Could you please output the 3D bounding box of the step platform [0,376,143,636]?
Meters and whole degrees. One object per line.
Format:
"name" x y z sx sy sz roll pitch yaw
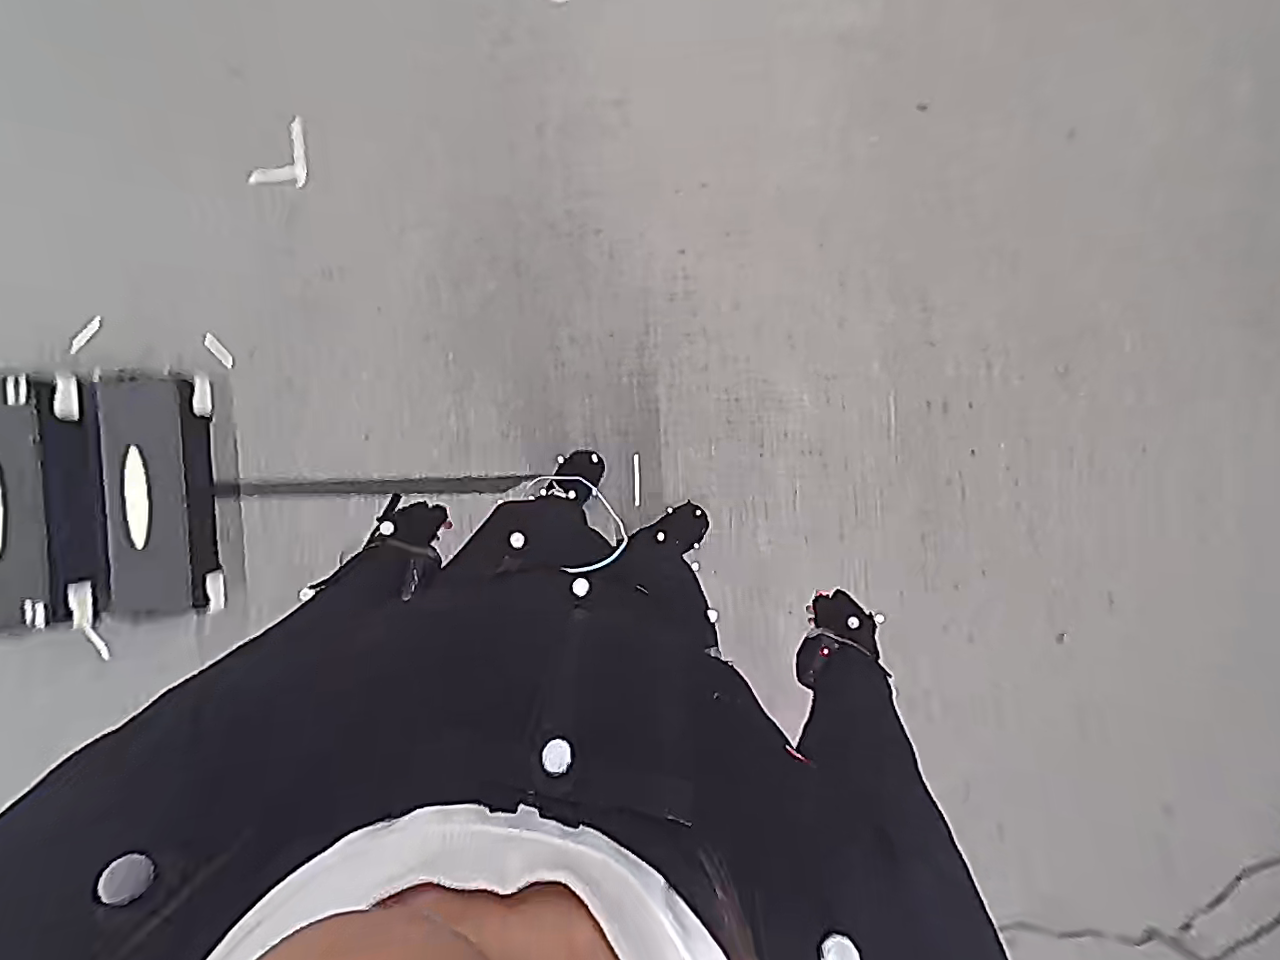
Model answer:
"step platform" -1.582 0.065 1.454 0.286 0.204 0.684 -3 91 3
